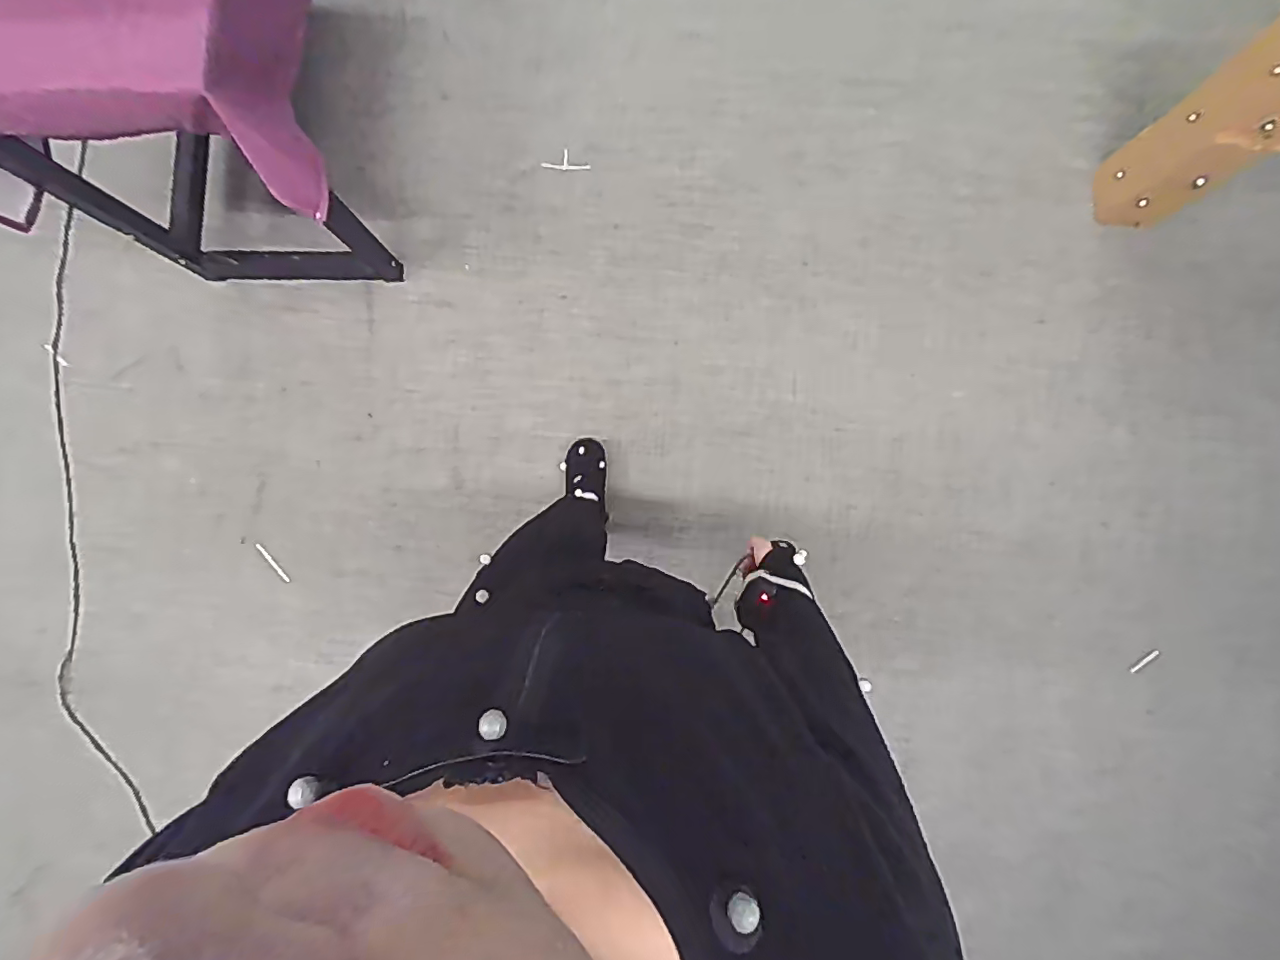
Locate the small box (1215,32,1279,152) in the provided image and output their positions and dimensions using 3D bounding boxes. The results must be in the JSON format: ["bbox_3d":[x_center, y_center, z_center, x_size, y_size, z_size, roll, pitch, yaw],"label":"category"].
[{"bbox_3d":[1.406,-0.852,1.162,0.168,0.176,0.179,11,86,2],"label":"small box"}]

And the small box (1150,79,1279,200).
[{"bbox_3d":[1.407,-0.826,1.323,0.168,0.176,0.179,8,85,2],"label":"small box"}]
